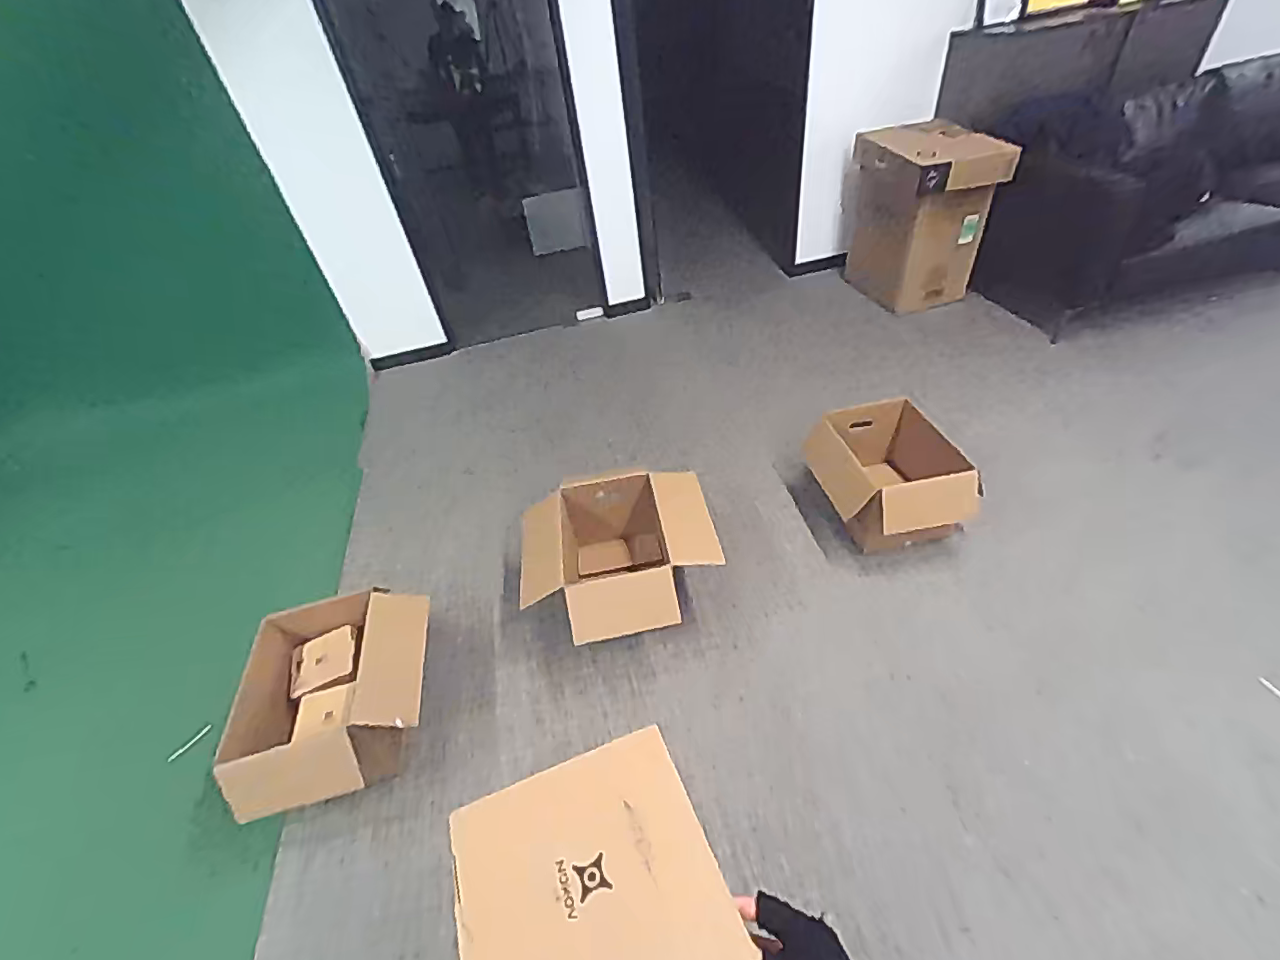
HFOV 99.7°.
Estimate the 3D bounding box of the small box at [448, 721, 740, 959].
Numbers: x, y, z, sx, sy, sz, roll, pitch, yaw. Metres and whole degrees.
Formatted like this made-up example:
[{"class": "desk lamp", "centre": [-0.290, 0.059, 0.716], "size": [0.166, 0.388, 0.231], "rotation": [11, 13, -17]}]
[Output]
[{"class": "small box", "centre": [-0.034, 0.336, 0.430], "size": [0.179, 0.176, 0.168], "rotation": [-18, 41, -13]}]
